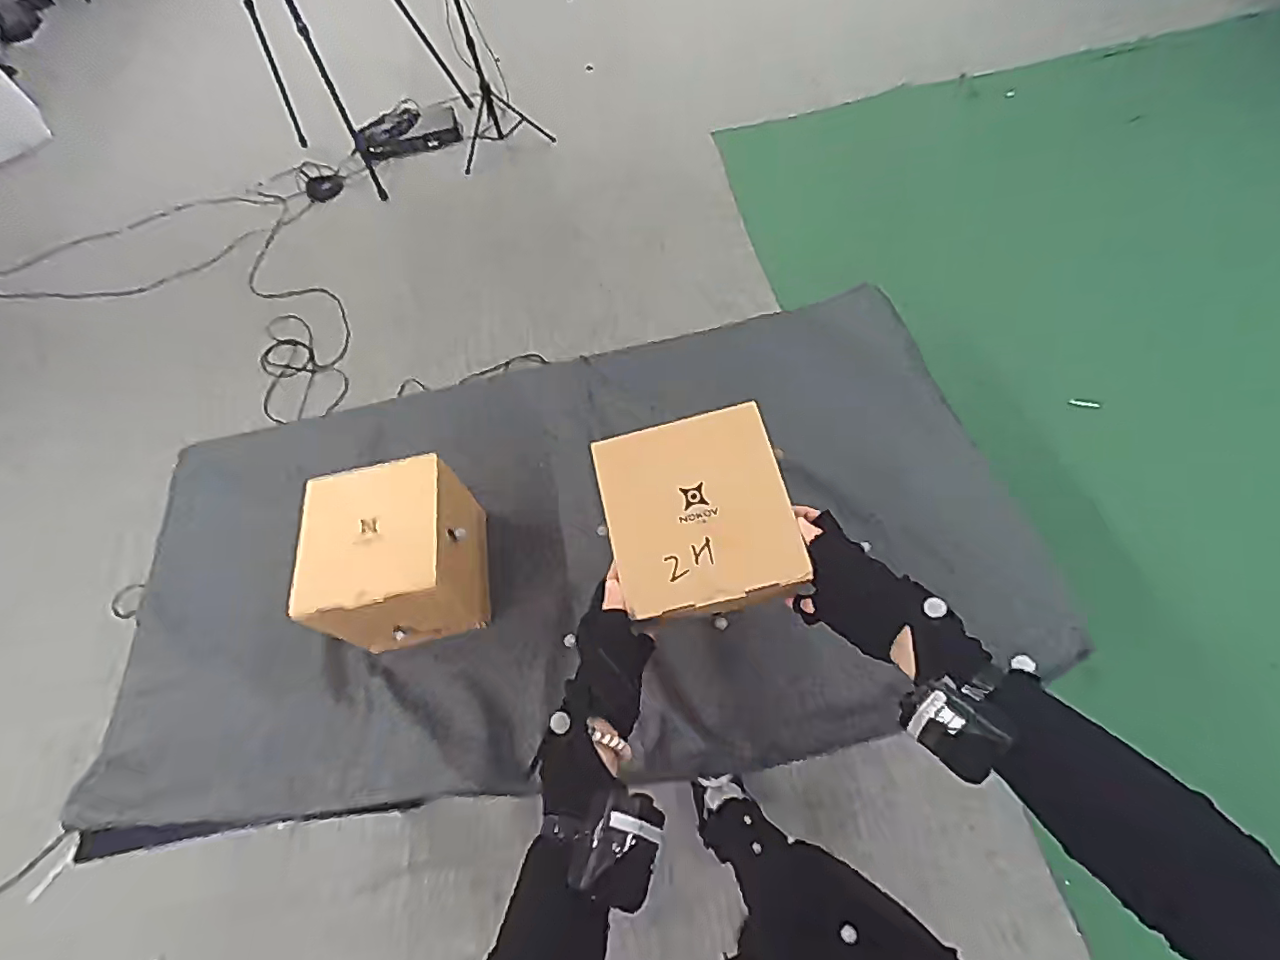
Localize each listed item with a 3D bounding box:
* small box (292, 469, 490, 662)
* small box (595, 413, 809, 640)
[{"bbox_3d":[-0.300,0.114,0.692,0.168,0.176,0.179,-12,60,0],"label":"small box"},{"bbox_3d":[0.060,0.059,0.570,0.168,0.176,0.179,-14,68,3],"label":"small box"}]
